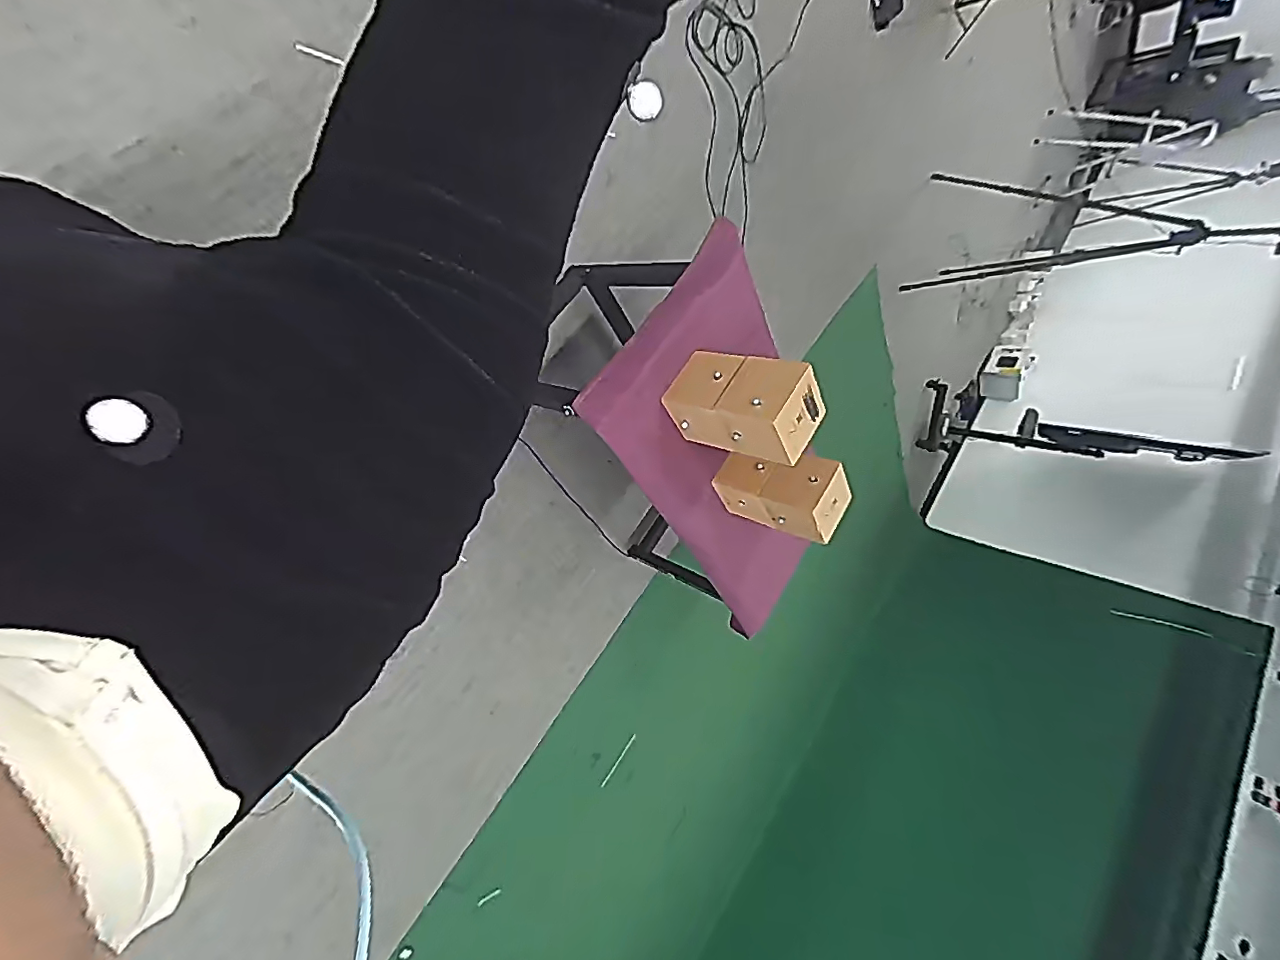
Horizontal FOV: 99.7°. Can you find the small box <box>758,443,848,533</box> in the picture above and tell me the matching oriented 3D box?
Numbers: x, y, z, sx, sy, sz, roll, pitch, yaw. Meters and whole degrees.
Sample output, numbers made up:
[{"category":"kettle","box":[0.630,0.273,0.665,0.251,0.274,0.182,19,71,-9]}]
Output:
[{"category":"small box","box":[0.462,0.017,1.535,0.179,0.176,0.168,-55,135,-18]}]

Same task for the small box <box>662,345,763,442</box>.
[{"category":"small box","box":[0.186,-0.228,1.392,0.179,0.176,0.168,-55,136,-16]}]

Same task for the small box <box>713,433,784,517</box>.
[{"category":"small box","box":[0.342,-0.019,1.641,0.179,0.176,0.168,-56,136,-18]}]
